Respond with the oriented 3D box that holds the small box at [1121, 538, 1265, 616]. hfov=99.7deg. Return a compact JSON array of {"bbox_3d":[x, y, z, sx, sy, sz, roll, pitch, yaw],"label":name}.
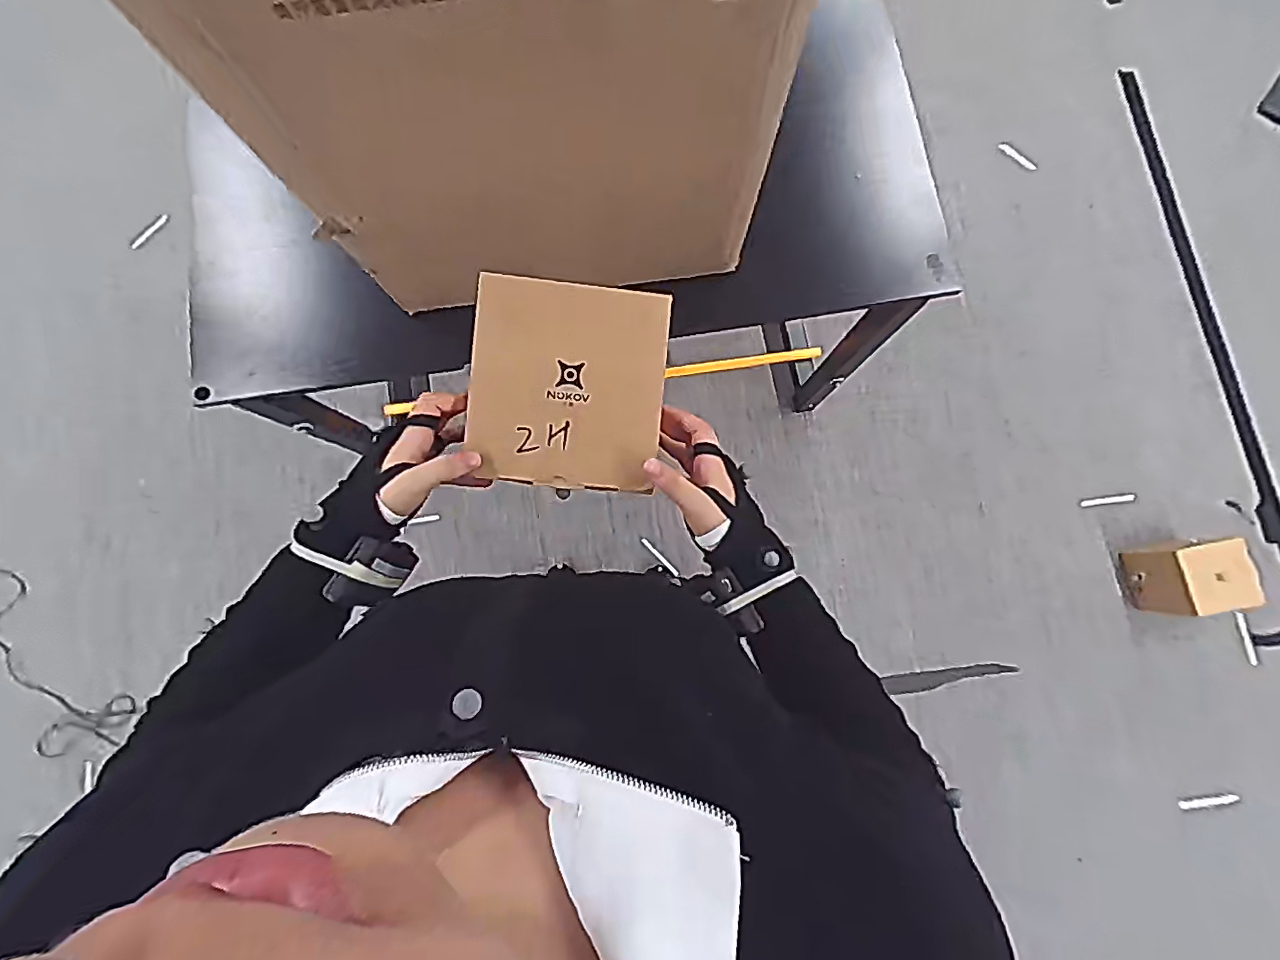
[{"bbox_3d":[1.423,0.249,1.405,0.179,0.176,0.168,-12,80,0],"label":"small box"}]
